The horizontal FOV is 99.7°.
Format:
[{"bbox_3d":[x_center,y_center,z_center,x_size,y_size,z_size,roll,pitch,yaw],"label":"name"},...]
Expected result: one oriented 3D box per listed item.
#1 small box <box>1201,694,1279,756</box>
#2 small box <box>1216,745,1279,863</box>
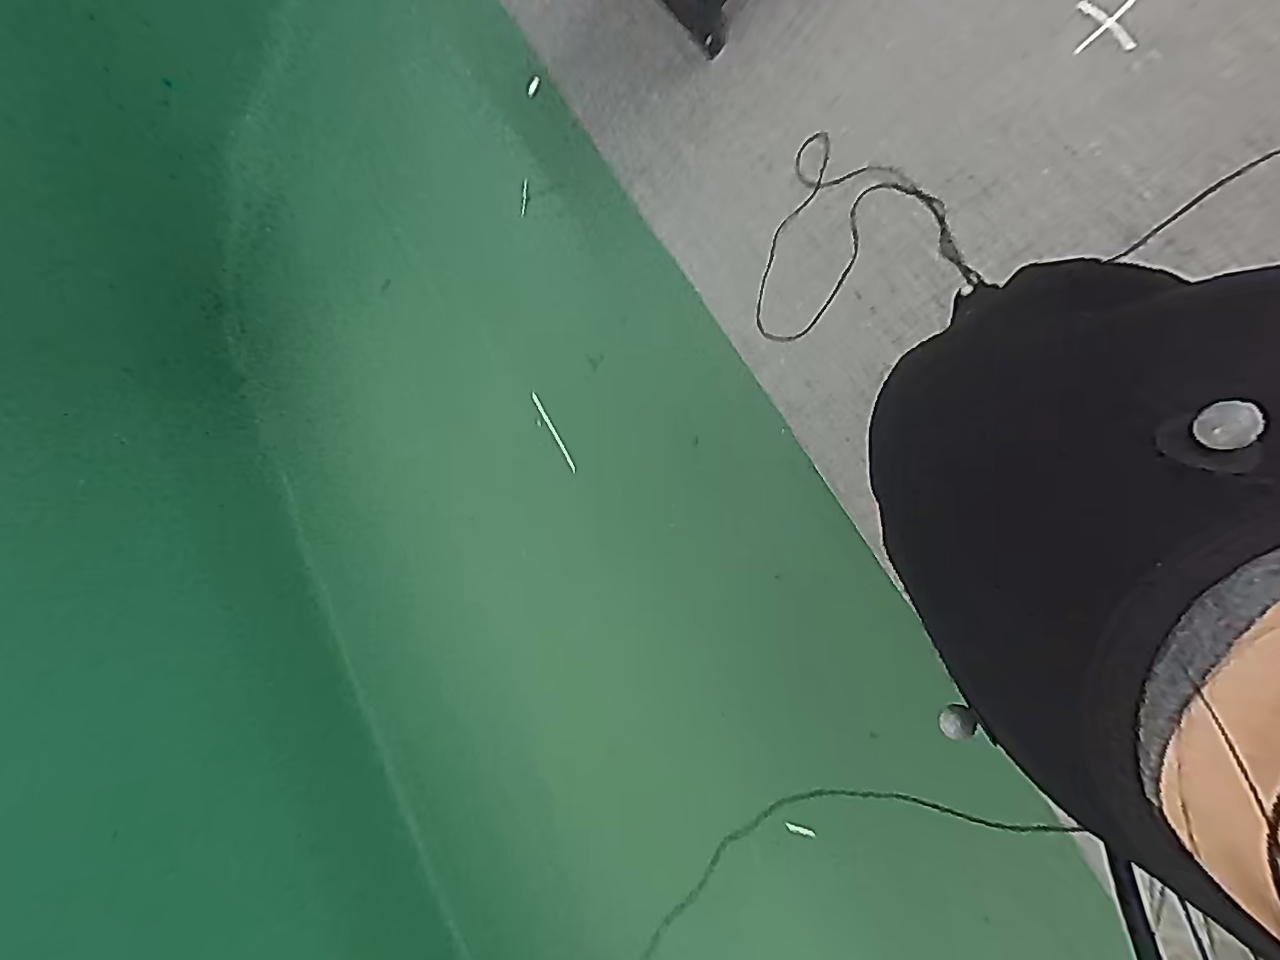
[{"bbox_3d":[1.149,0.494,0.938,0.179,0.176,0.168,-42,70,31],"label":"small box"},{"bbox_3d":[1.041,0.515,0.814,0.168,0.176,0.179,-43,71,33],"label":"small box"}]
